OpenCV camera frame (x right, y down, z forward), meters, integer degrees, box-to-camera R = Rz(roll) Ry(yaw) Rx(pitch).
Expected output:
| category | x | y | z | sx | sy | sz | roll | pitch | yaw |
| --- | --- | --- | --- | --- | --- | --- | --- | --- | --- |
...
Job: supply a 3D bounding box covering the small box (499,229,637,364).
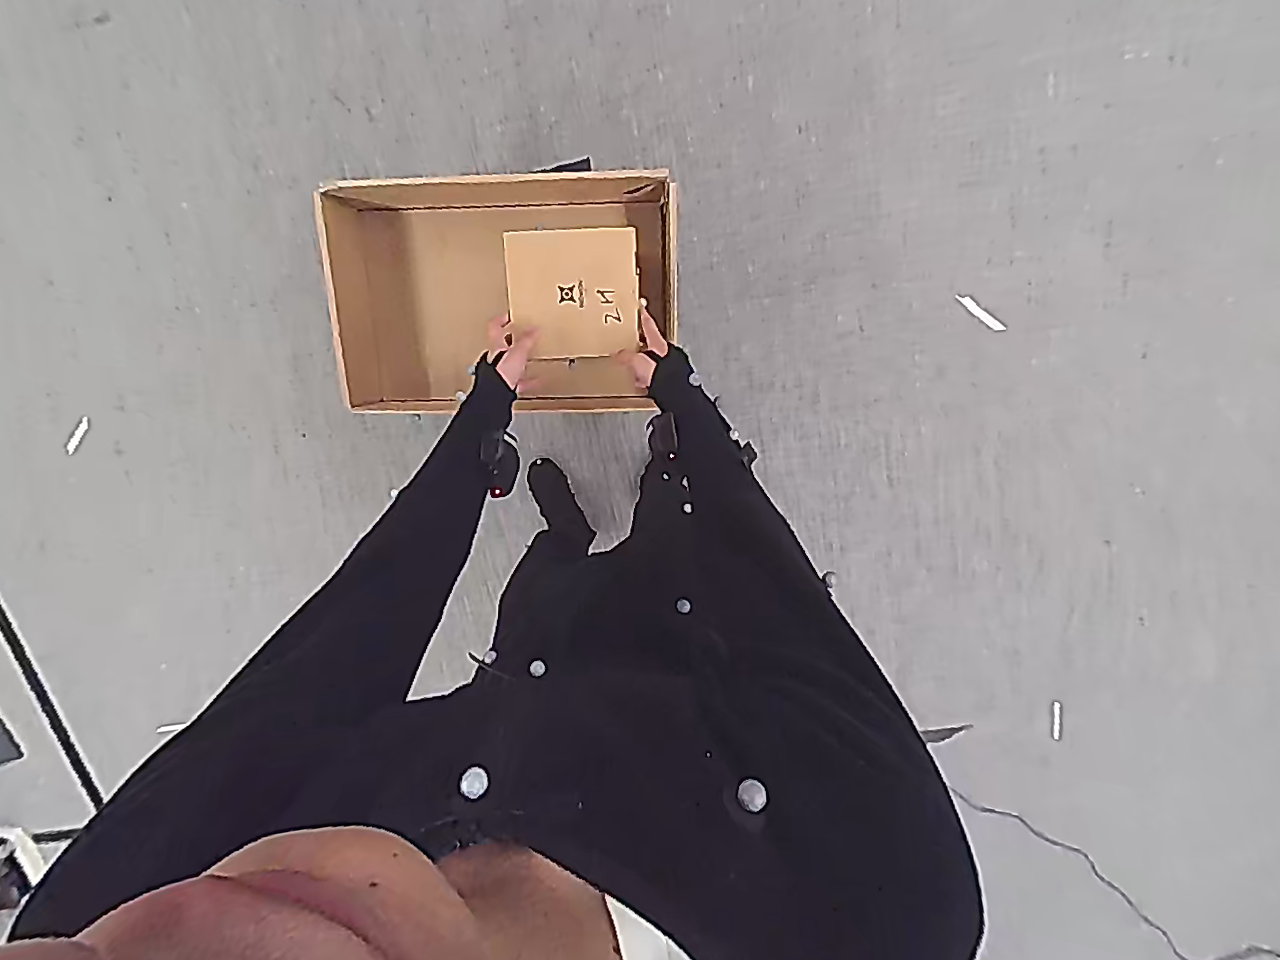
| category | x | y | z | sx | sy | sz | roll | pitch | yaw |
| --- | --- | --- | --- | --- | --- | --- | --- | --- | --- |
| small box | -0.095 | -0.256 | 0.787 | 0.179 | 0.176 | 0.168 | -3 | 102 | -2 |
